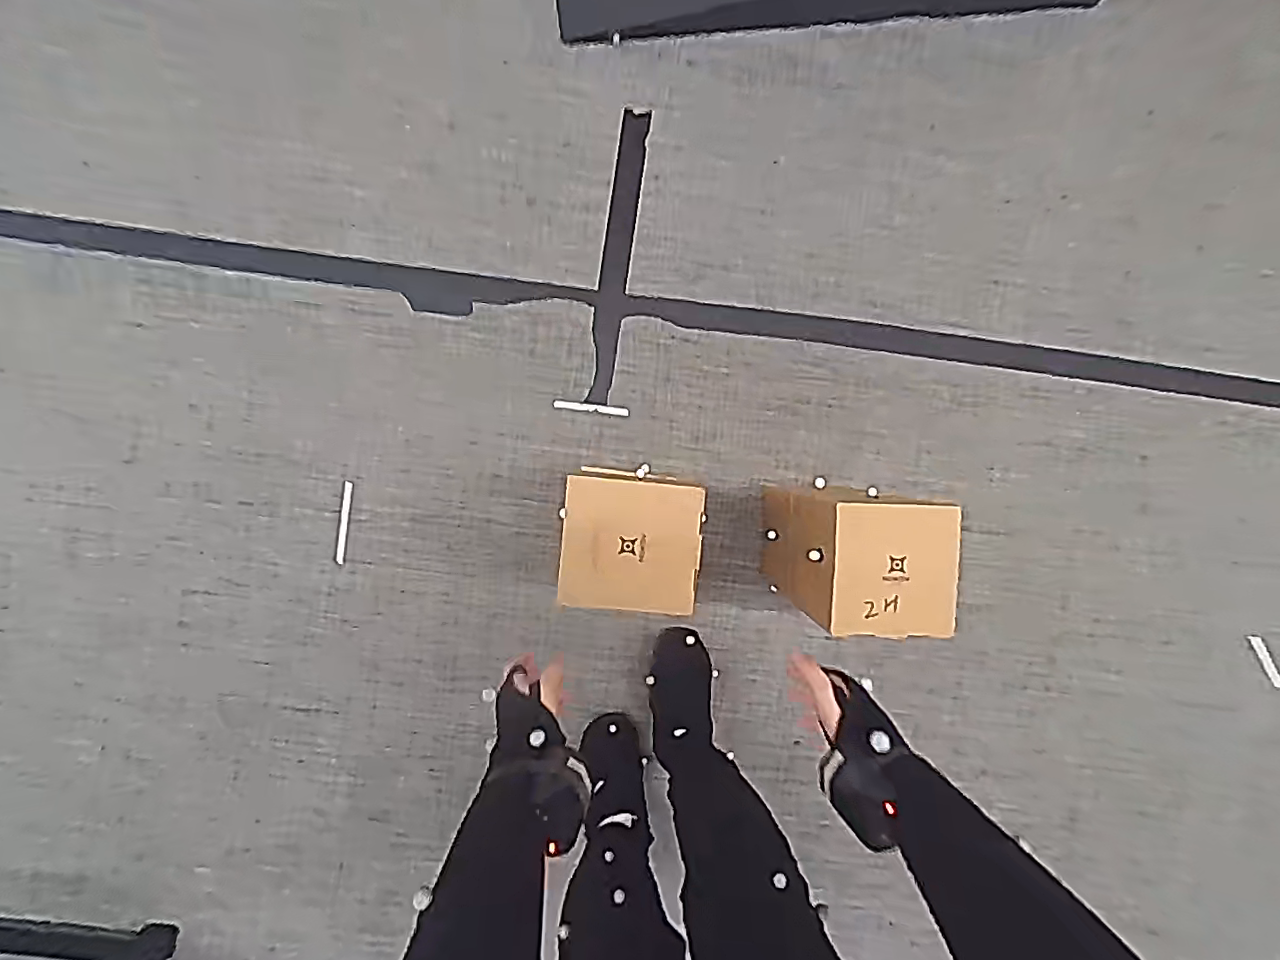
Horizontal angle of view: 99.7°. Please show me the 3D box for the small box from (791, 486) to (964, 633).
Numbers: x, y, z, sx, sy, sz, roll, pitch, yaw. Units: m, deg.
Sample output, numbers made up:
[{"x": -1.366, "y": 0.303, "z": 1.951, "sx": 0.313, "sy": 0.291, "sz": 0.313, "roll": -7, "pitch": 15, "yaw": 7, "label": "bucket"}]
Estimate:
[{"x": 0.320, "y": 0.101, "z": 0.760, "sx": 0.168, "sy": 0.176, "sz": 0.179, "roll": 2, "pitch": 94, "yaw": -2, "label": "small box"}]

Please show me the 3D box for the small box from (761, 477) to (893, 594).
[{"x": 0.311, "y": 0.089, "z": 0.924, "sx": 0.168, "sy": 0.176, "sz": 0.179, "roll": 1, "pitch": 93, "yaw": -3, "label": "small box"}]

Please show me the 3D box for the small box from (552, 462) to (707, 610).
[{"x": -0.016, "y": 0.066, "z": 0.741, "sx": 0.179, "sy": 0.176, "sz": 0.168, "roll": 6, "pitch": 94, "yaw": -2, "label": "small box"}]
